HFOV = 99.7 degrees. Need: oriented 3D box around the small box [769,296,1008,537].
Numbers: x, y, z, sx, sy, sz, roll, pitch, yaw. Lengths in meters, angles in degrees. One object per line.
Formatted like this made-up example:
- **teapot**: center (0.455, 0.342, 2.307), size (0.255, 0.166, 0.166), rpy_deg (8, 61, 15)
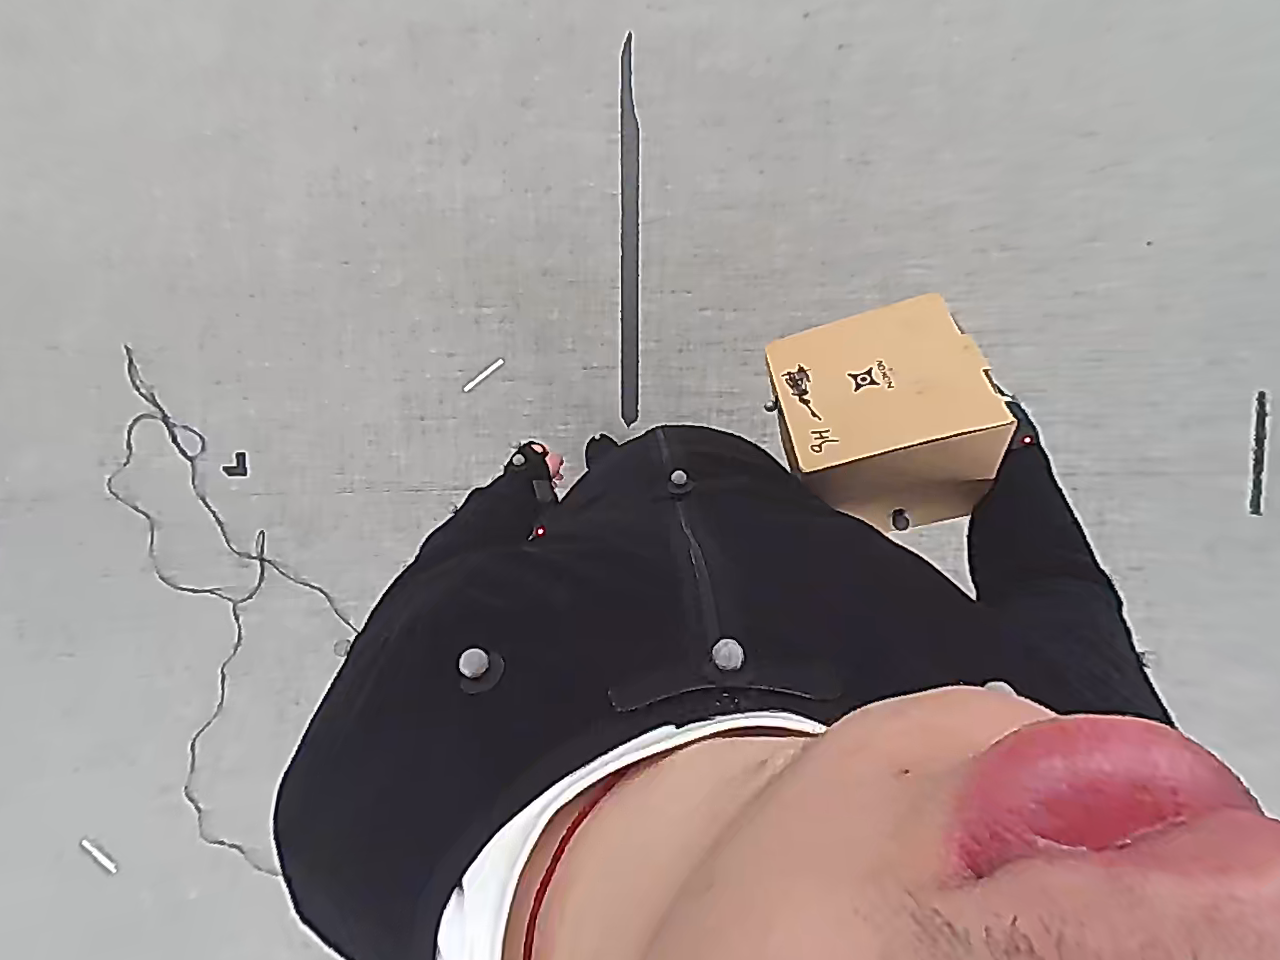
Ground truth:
- **small box**: center (0.249, -0.058, 0.581), size (0.179, 0.176, 0.168), rpy_deg (-14, 55, 13)
